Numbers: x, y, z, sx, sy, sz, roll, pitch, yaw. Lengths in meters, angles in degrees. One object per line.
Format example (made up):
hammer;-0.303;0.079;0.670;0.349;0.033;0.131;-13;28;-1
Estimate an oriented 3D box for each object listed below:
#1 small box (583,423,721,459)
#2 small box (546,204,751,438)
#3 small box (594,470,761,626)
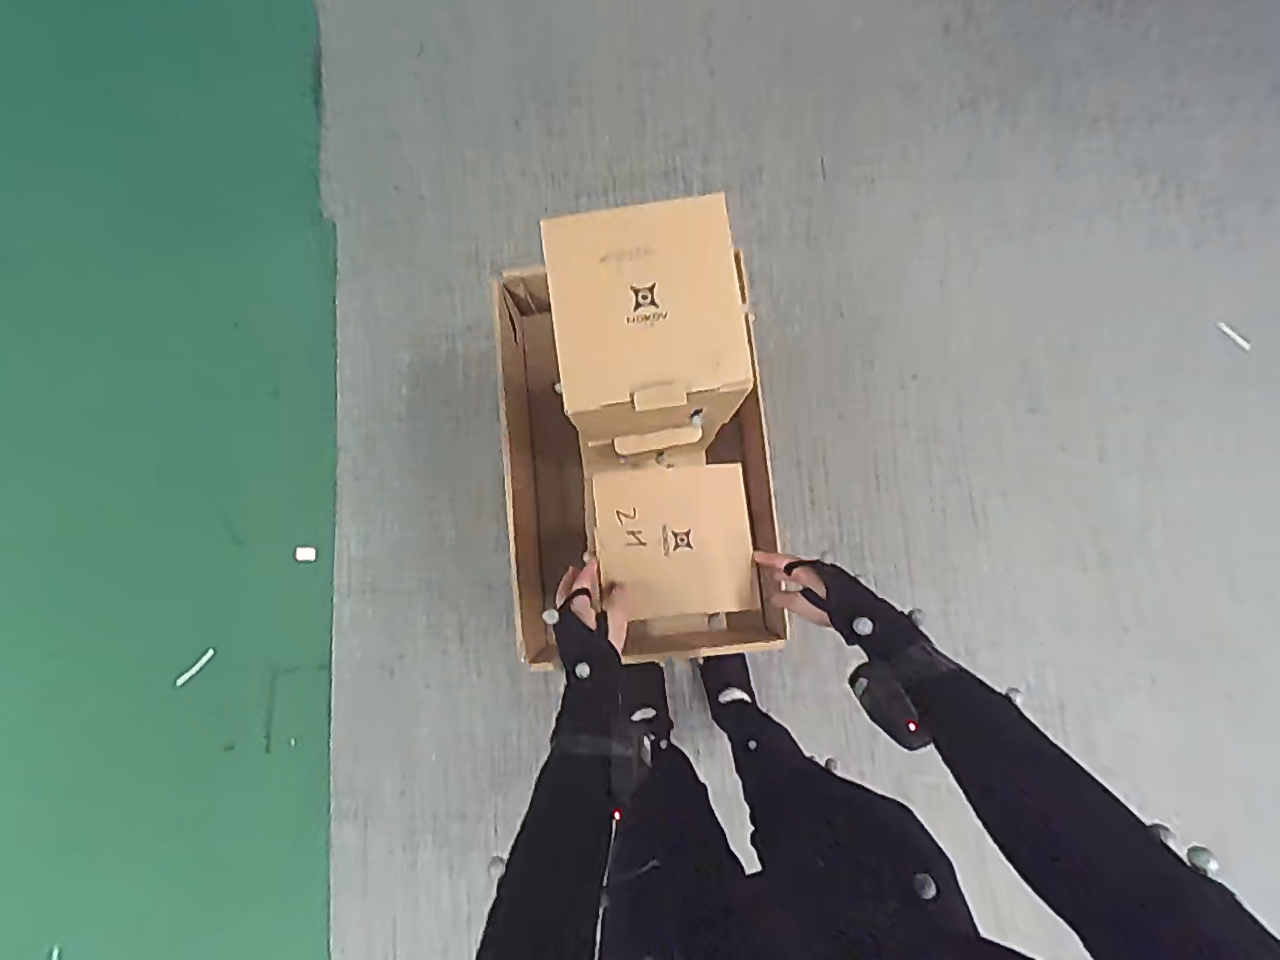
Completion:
small box;0.006;-0.128;0.713;0.168;0.176;0.179;-10;84;1
small box;0.009;-0.143;0.551;0.168;0.176;0.179;-7;85;0
small box;0.034;0.090;0.671;0.179;0.176;0.168;-3;76;-5
